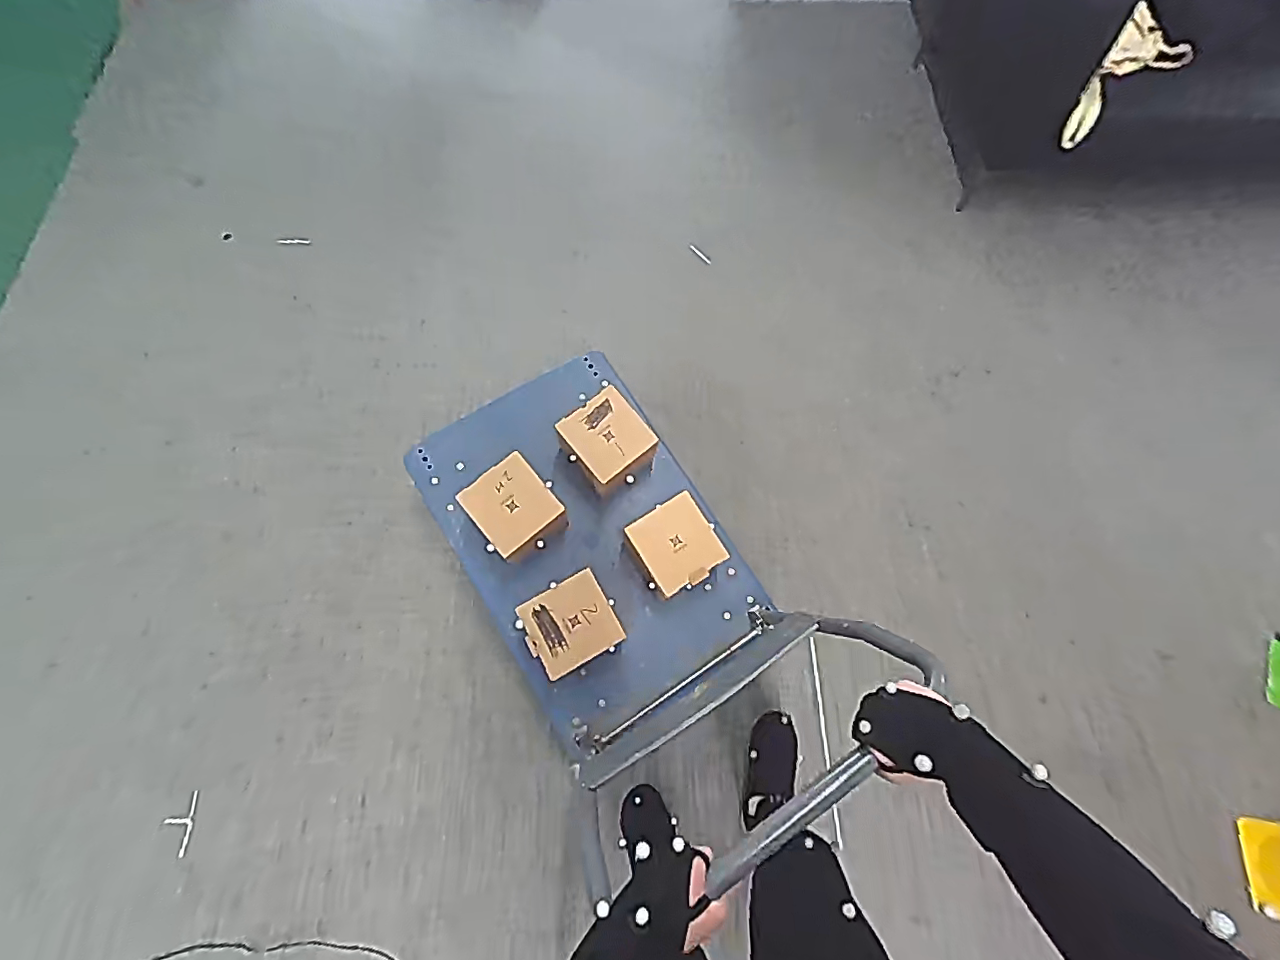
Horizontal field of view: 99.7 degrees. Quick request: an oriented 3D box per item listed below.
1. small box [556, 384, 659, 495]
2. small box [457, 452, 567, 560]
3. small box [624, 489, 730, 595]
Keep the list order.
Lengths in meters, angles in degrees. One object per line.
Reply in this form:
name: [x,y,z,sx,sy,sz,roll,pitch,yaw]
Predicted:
small box: [-0.079,-0.088,1.285,0.168,0.176,0.179,-39,82,-11]
small box: [-0.281,0.067,1.231,0.168,0.176,0.179,-39,82,-13]
small box: [0.074,0.149,1.238,0.168,0.176,0.179,-32,81,-11]
